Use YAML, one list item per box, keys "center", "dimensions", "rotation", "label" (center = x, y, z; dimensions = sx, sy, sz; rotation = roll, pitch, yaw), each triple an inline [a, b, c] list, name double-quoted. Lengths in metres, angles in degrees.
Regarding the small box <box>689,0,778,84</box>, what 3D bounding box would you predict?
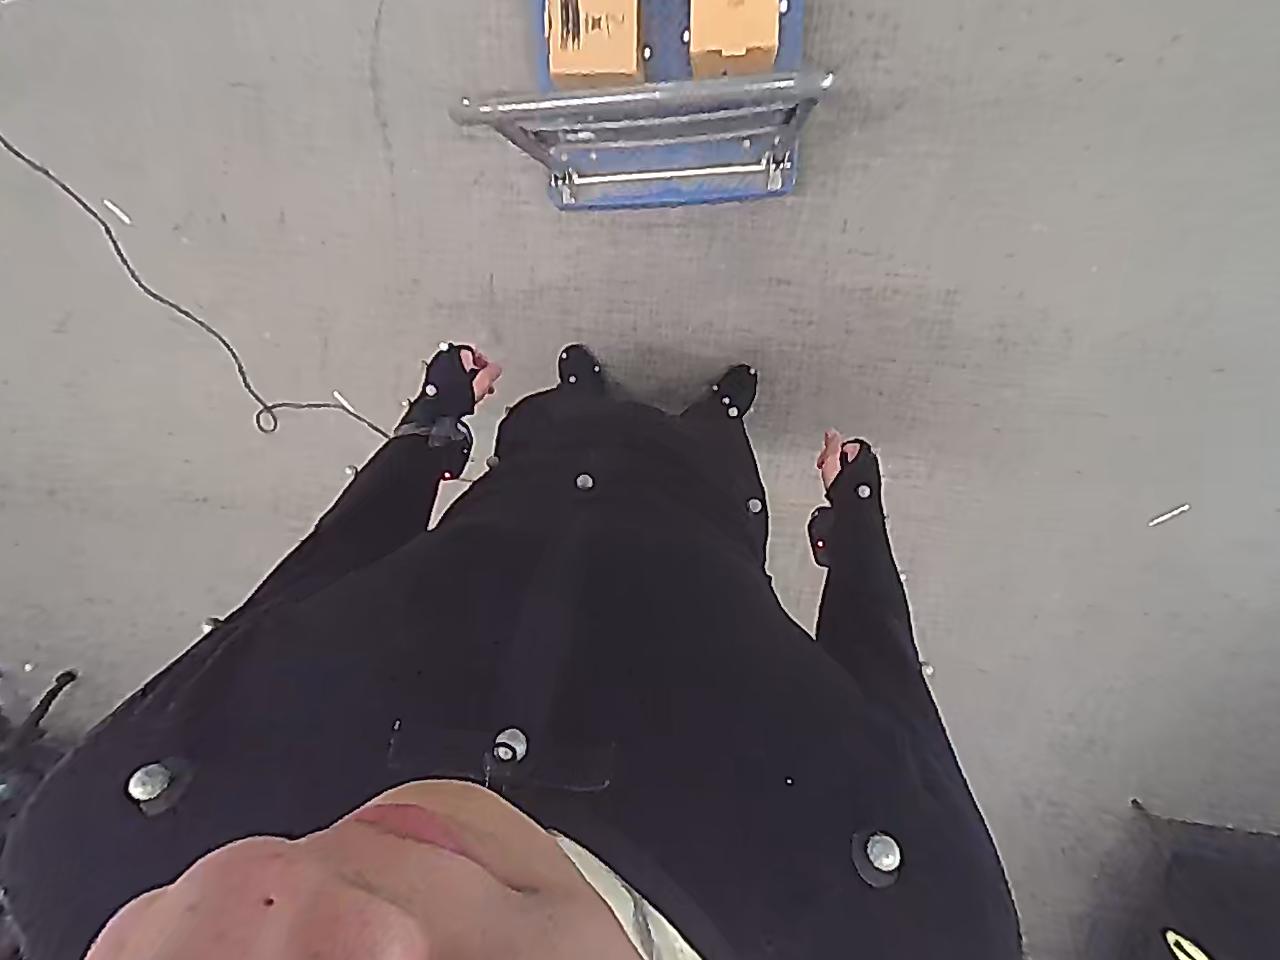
- center: [0.181, -0.922, 1.071]
  dimensions: [0.168, 0.176, 0.179]
  rotation: [1, 108, 7]
  label: "small box"
